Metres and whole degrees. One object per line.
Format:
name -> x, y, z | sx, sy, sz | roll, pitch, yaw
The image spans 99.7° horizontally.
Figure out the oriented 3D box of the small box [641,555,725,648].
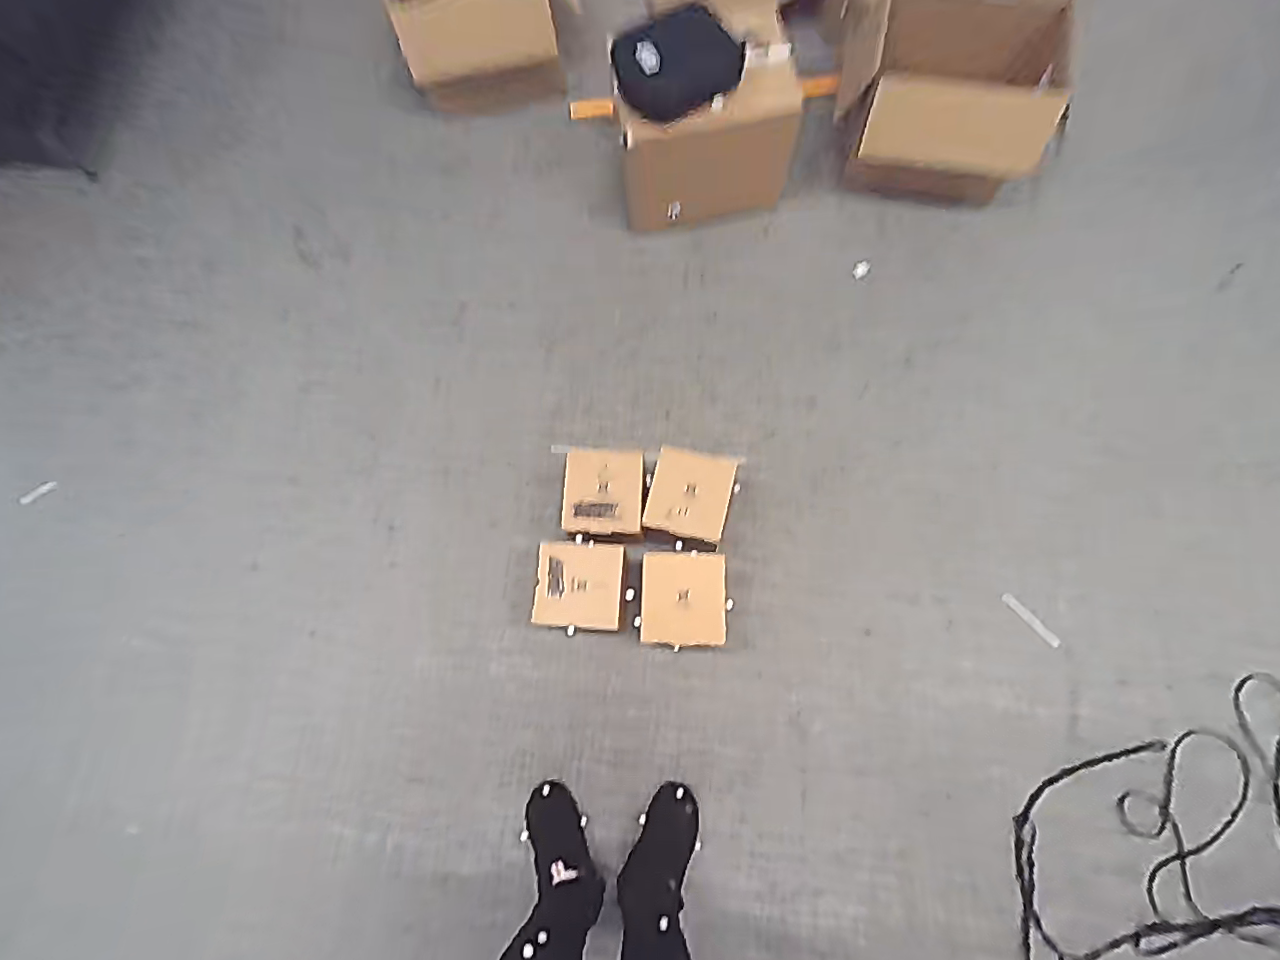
small box -> 0.090, 0.260, 1.140 | 0.168, 0.176, 0.179 | 1, 75, 4
